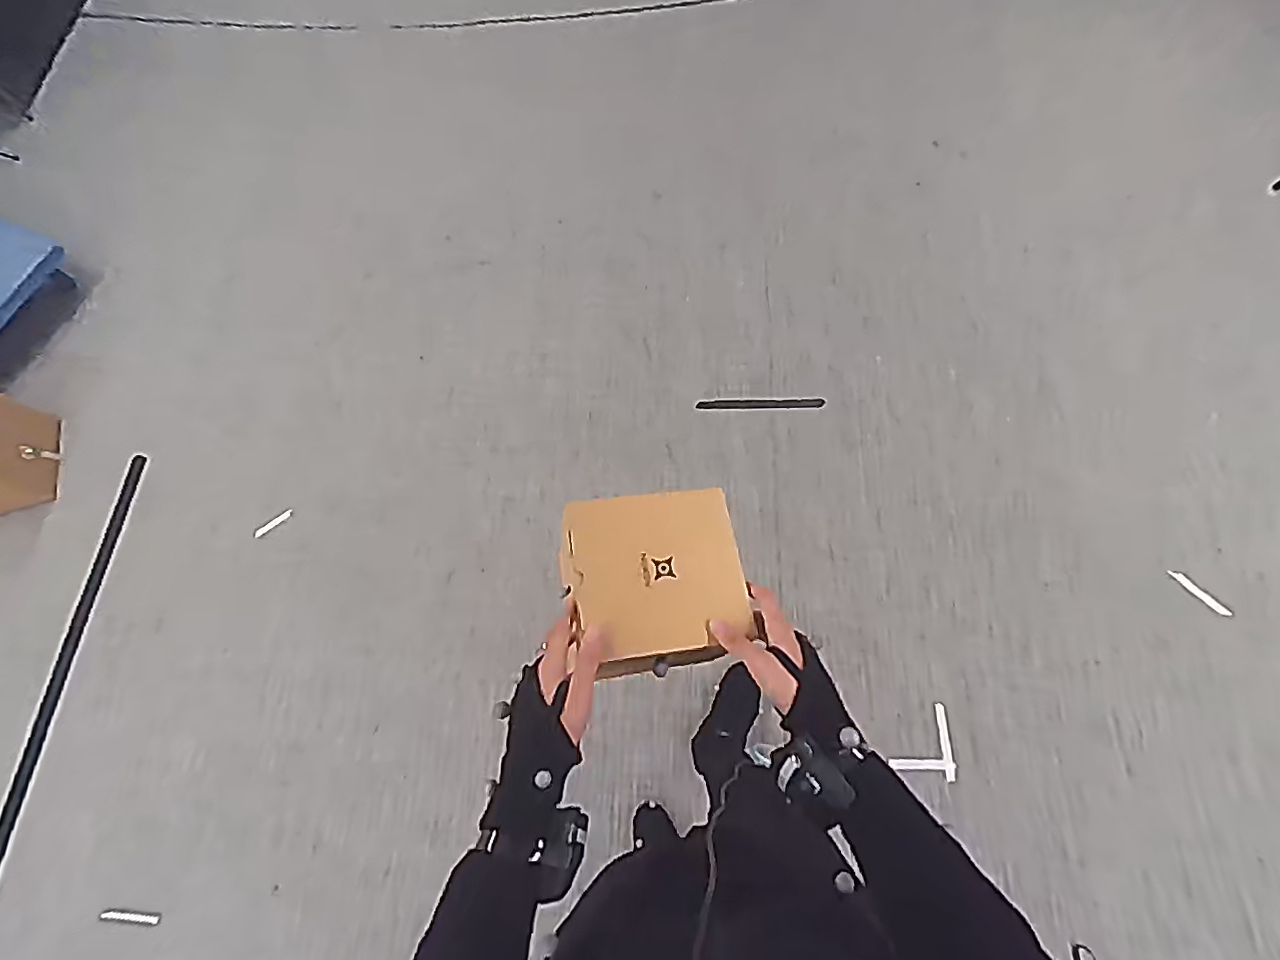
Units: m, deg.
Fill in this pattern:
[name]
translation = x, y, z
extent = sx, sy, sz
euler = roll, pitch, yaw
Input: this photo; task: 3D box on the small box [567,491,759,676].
[small box]
translation = 0.012, 0.124, 0.622
extent = 0.179, 0.176, 0.168
euler = -5, 66, -11
